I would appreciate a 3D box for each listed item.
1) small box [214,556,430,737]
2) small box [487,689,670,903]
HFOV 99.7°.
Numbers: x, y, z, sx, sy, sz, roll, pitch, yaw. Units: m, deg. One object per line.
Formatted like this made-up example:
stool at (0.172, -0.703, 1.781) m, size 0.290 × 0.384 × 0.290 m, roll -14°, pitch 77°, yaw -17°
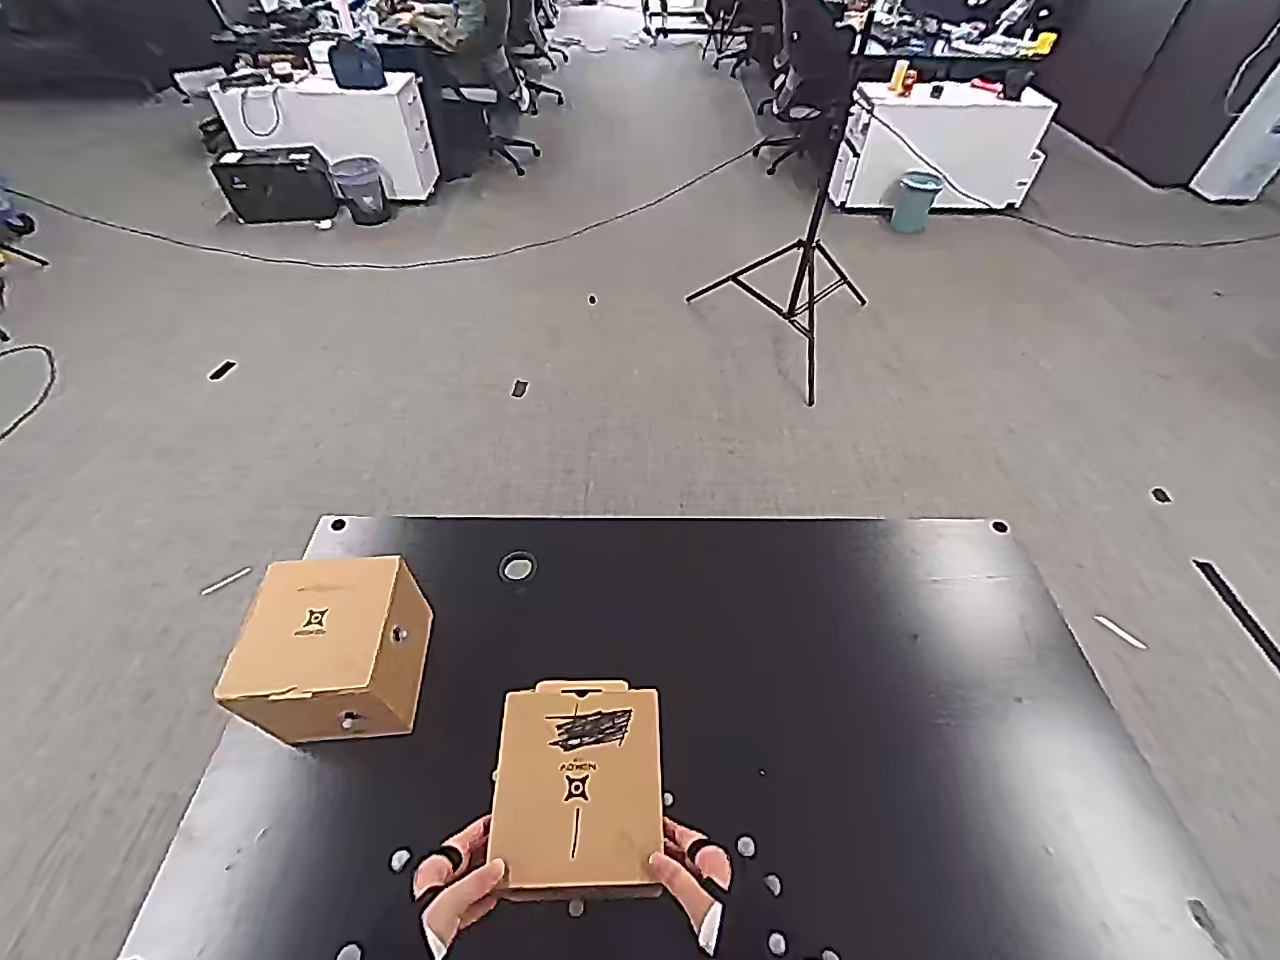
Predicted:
small box at (-0.383, 0.218, 0.694) m, size 0.168 × 0.176 × 0.179 m, roll -2°, pitch 49°, yaw -5°
small box at (-0.058, 0.346, 0.592) m, size 0.168 × 0.176 × 0.179 m, roll -1°, pitch 50°, yaw -2°
